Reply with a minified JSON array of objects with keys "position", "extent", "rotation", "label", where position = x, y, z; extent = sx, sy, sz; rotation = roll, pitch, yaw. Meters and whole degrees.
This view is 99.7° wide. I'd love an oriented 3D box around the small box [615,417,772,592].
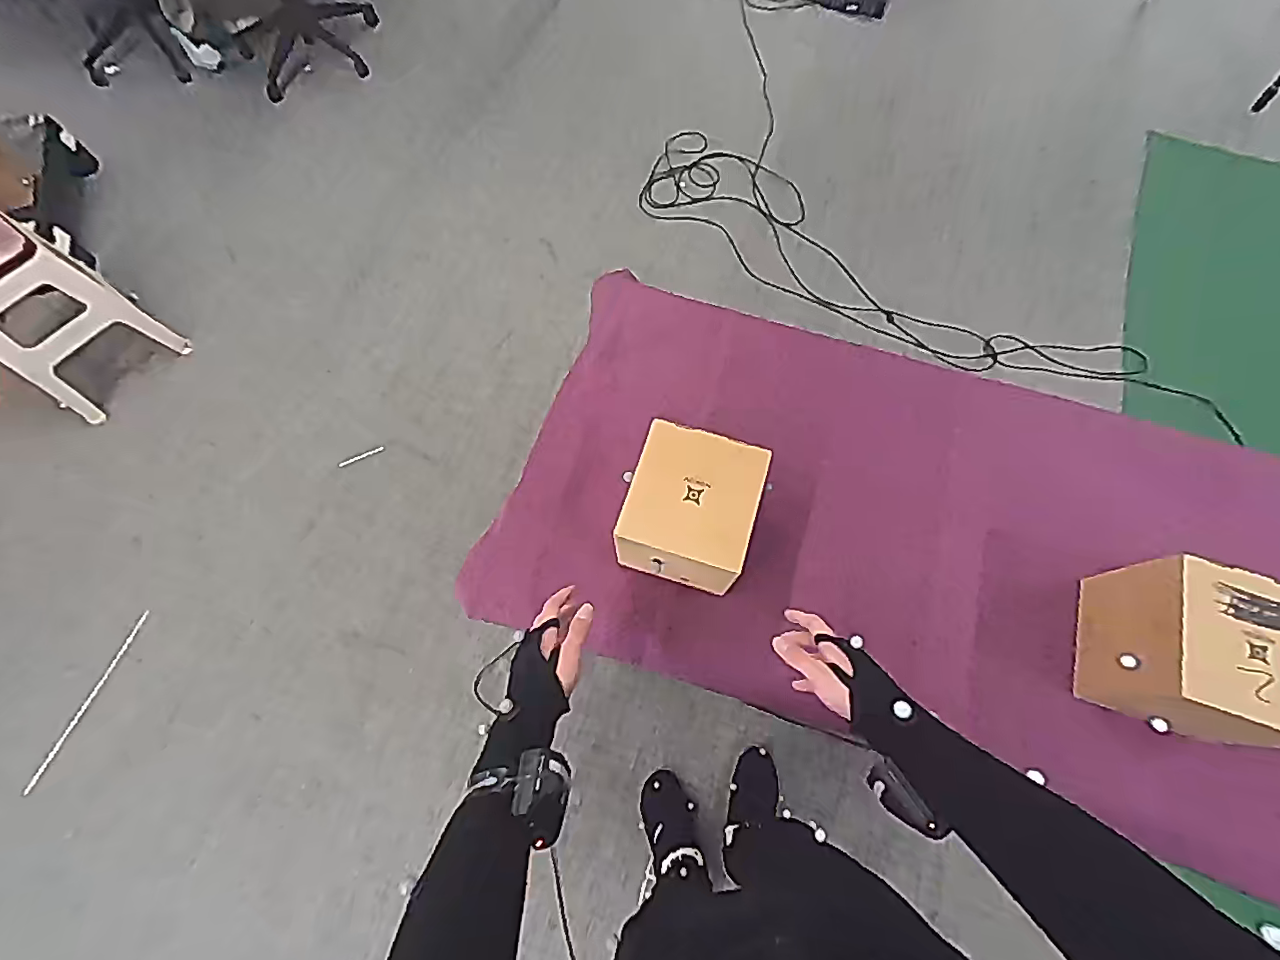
[{"position":[0.073,0.043,0.765],"extent":[0.168,0.176,0.179],"rotation":[17,68,7],"label":"small box"}]
